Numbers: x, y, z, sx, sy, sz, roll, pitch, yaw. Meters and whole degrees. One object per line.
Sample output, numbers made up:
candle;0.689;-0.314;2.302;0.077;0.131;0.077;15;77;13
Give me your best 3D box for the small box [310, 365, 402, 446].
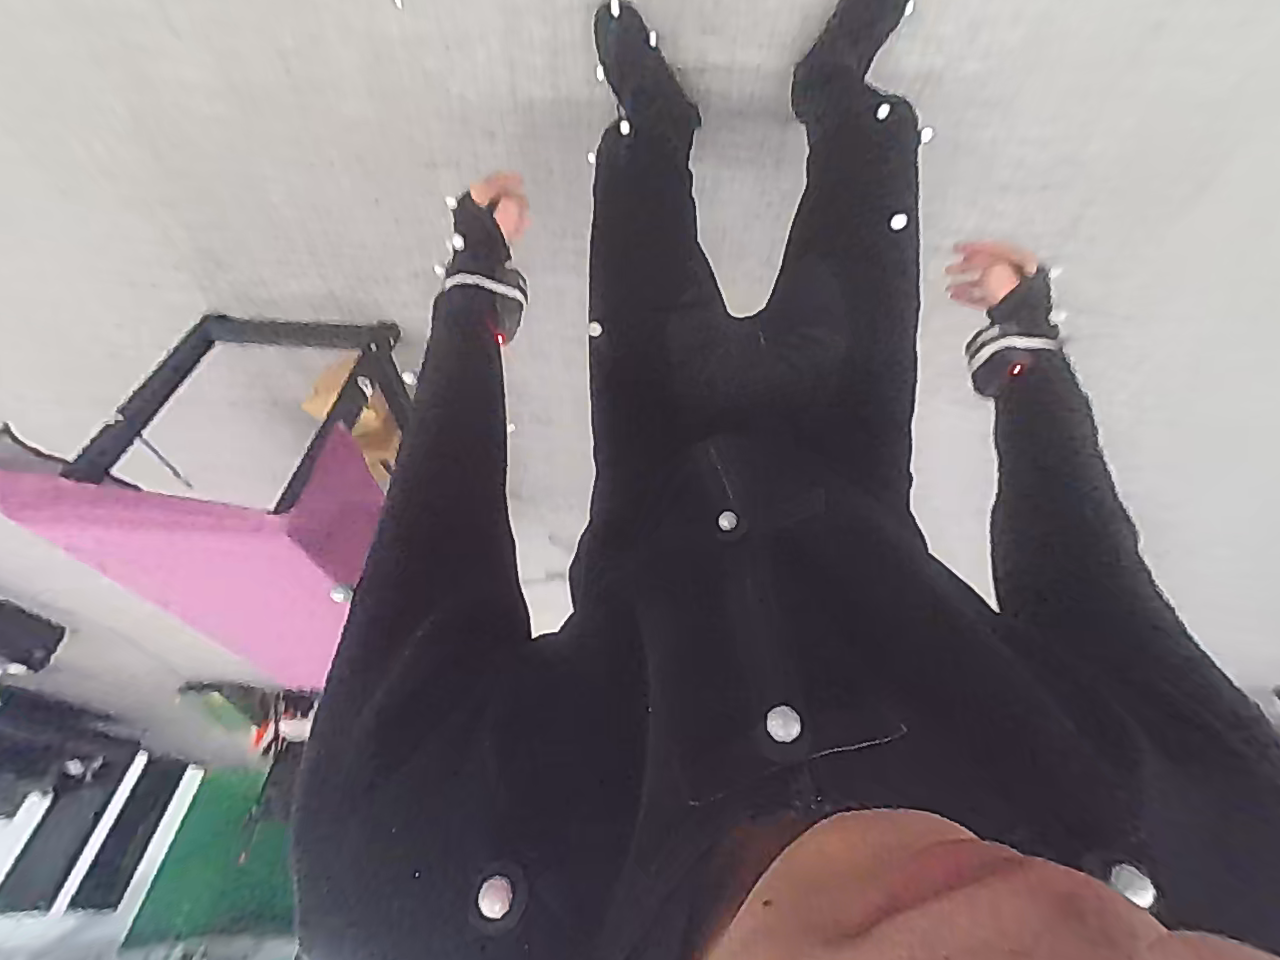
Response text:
small box;-0.908;-0.240;1.745;0.179;0.176;0.168;-15;139;24
